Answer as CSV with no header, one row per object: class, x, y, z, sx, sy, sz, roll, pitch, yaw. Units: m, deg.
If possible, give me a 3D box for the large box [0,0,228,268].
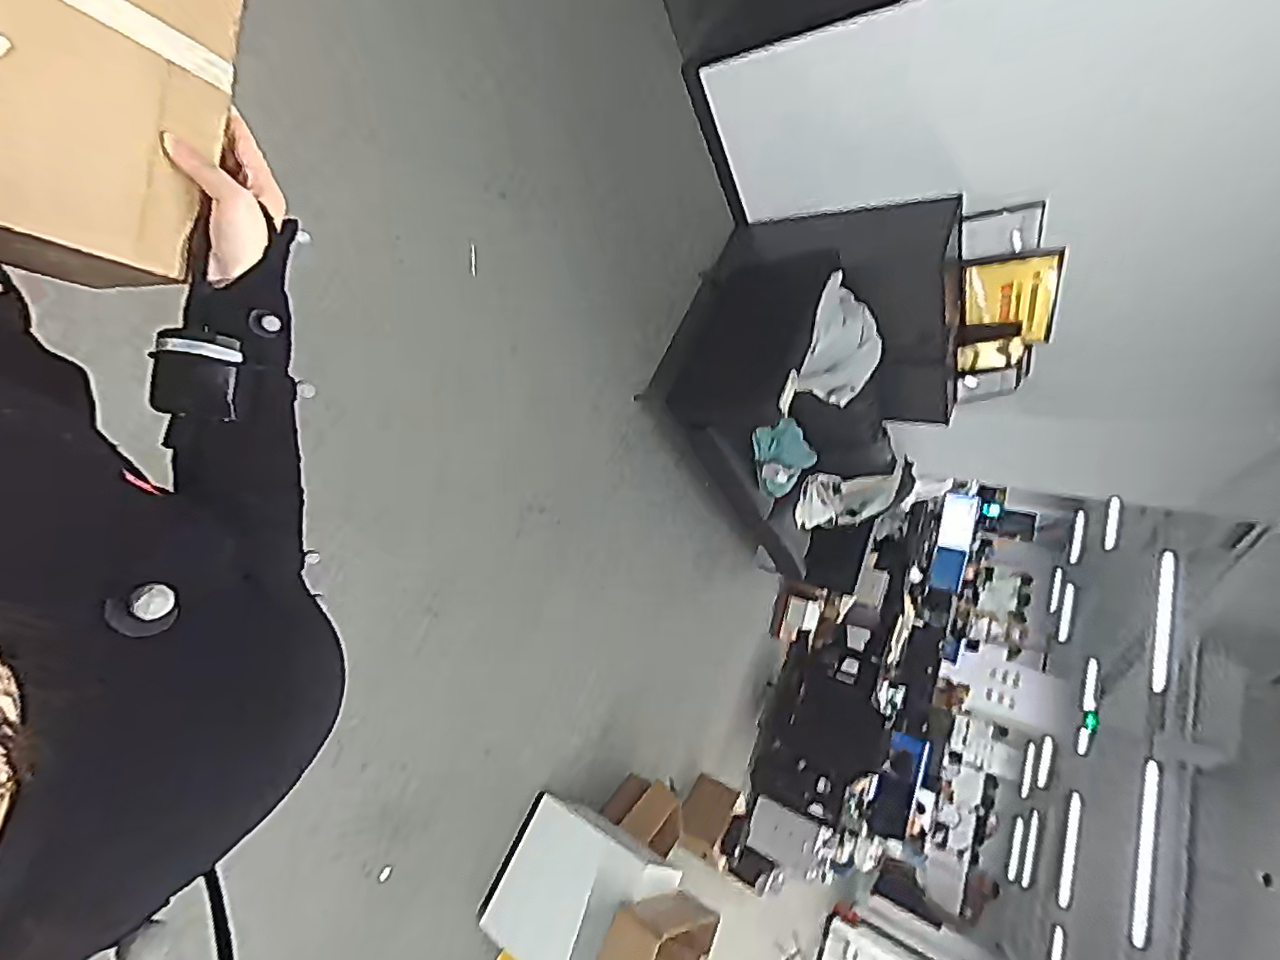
large box,-0.554,-0.359,0.330,0.408,0.320,0.320,7,96,-57
